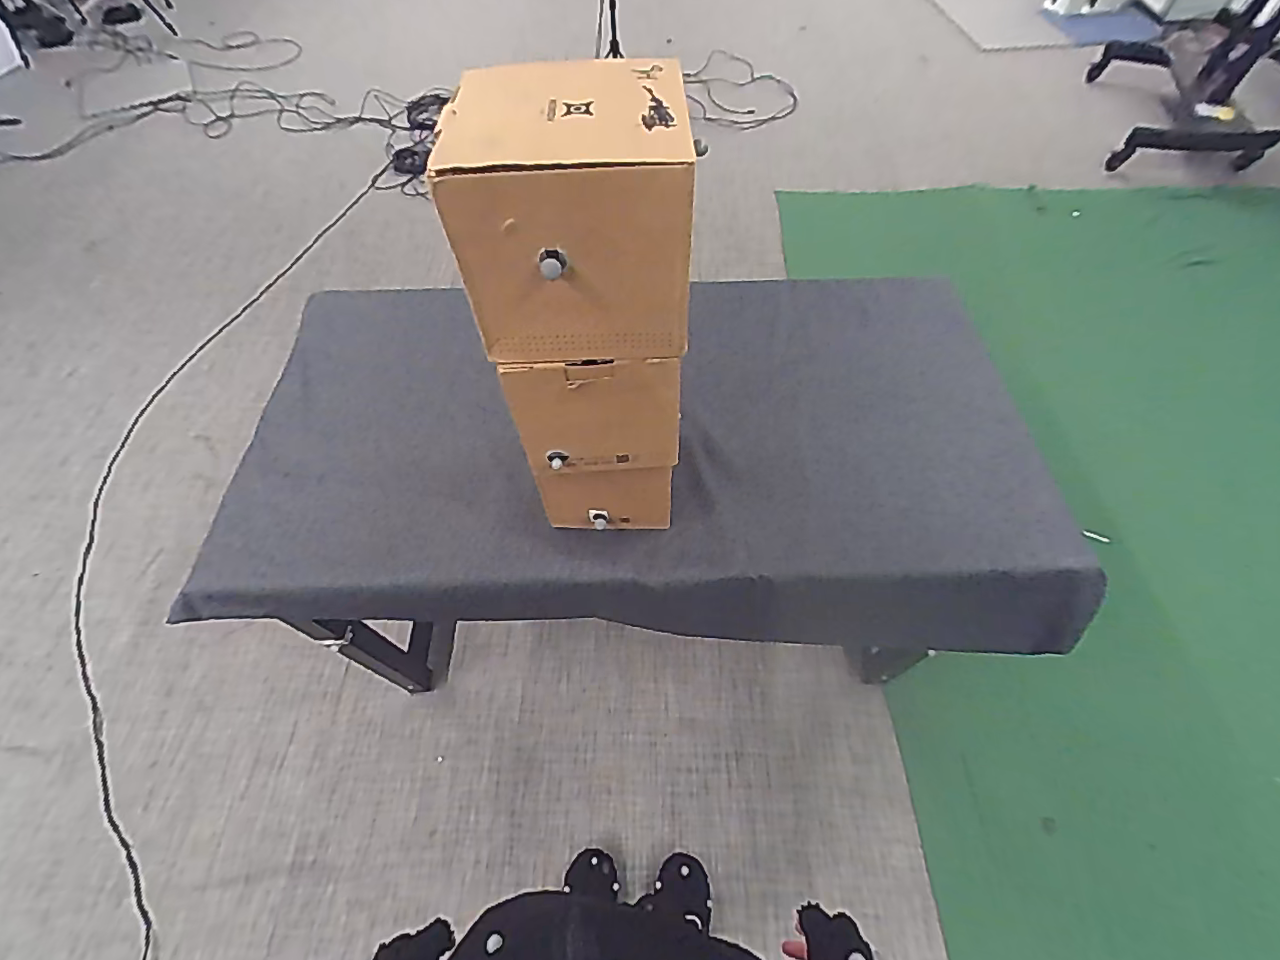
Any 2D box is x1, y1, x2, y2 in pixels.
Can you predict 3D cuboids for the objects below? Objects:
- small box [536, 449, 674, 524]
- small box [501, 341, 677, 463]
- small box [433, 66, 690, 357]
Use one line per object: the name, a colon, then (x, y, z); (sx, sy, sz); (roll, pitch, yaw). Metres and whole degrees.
small box: (-0.039, -0.054, 0.745); (0.168, 0.176, 0.179); (-2, 58, 2)
small box: (-0.050, -0.132, 0.601); (0.168, 0.176, 0.179); (-7, 58, -1)
small box: (-0.053, -0.223, 0.467); (0.179, 0.176, 0.168); (-5, 55, -1)
